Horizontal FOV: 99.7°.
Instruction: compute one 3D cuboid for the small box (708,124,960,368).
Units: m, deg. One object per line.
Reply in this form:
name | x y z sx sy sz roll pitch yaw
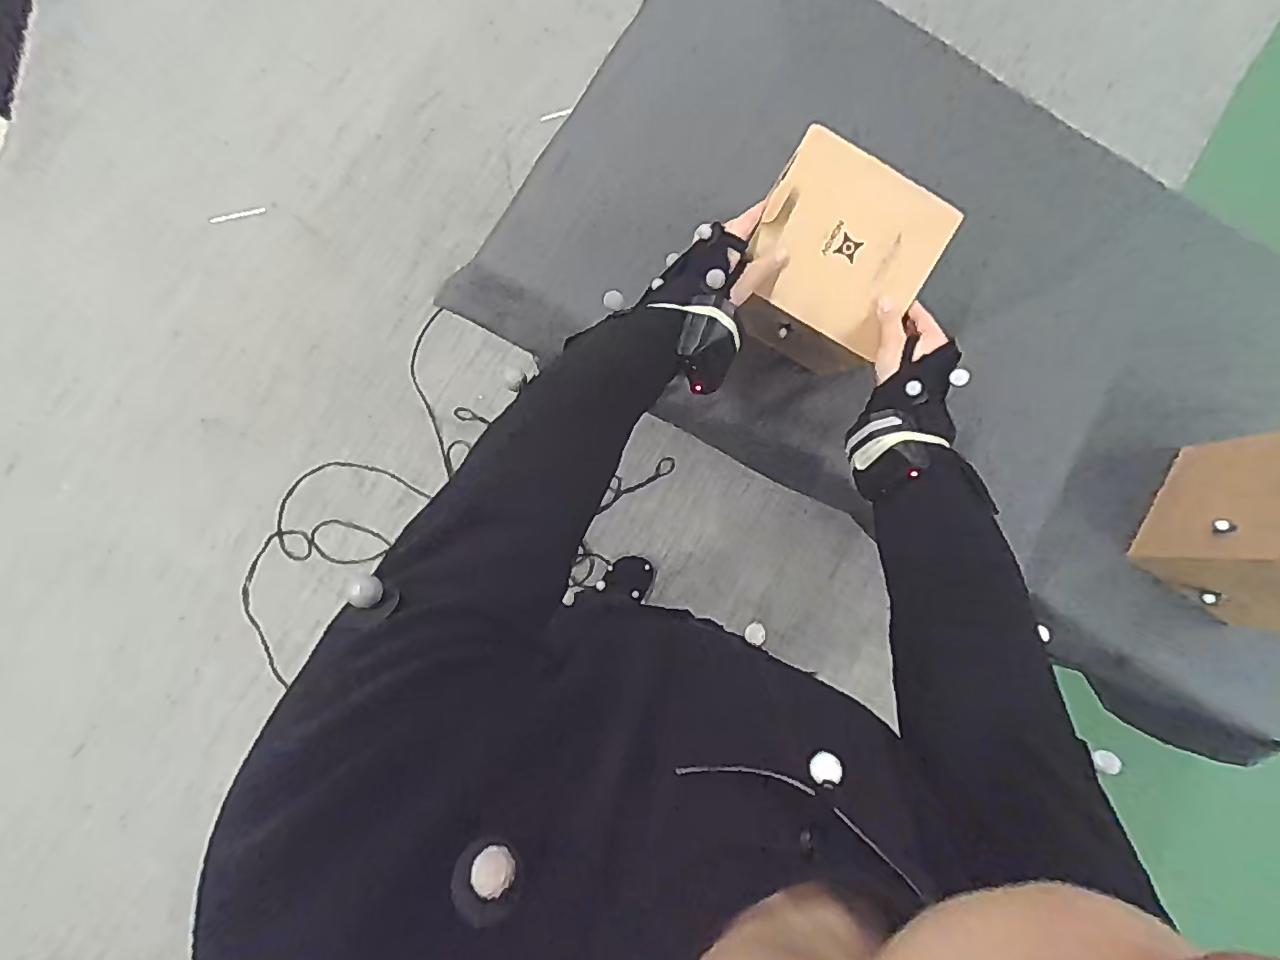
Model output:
small box | 0.193 -0.236 0.600 0.179 0.176 0.168 28 97 -5
